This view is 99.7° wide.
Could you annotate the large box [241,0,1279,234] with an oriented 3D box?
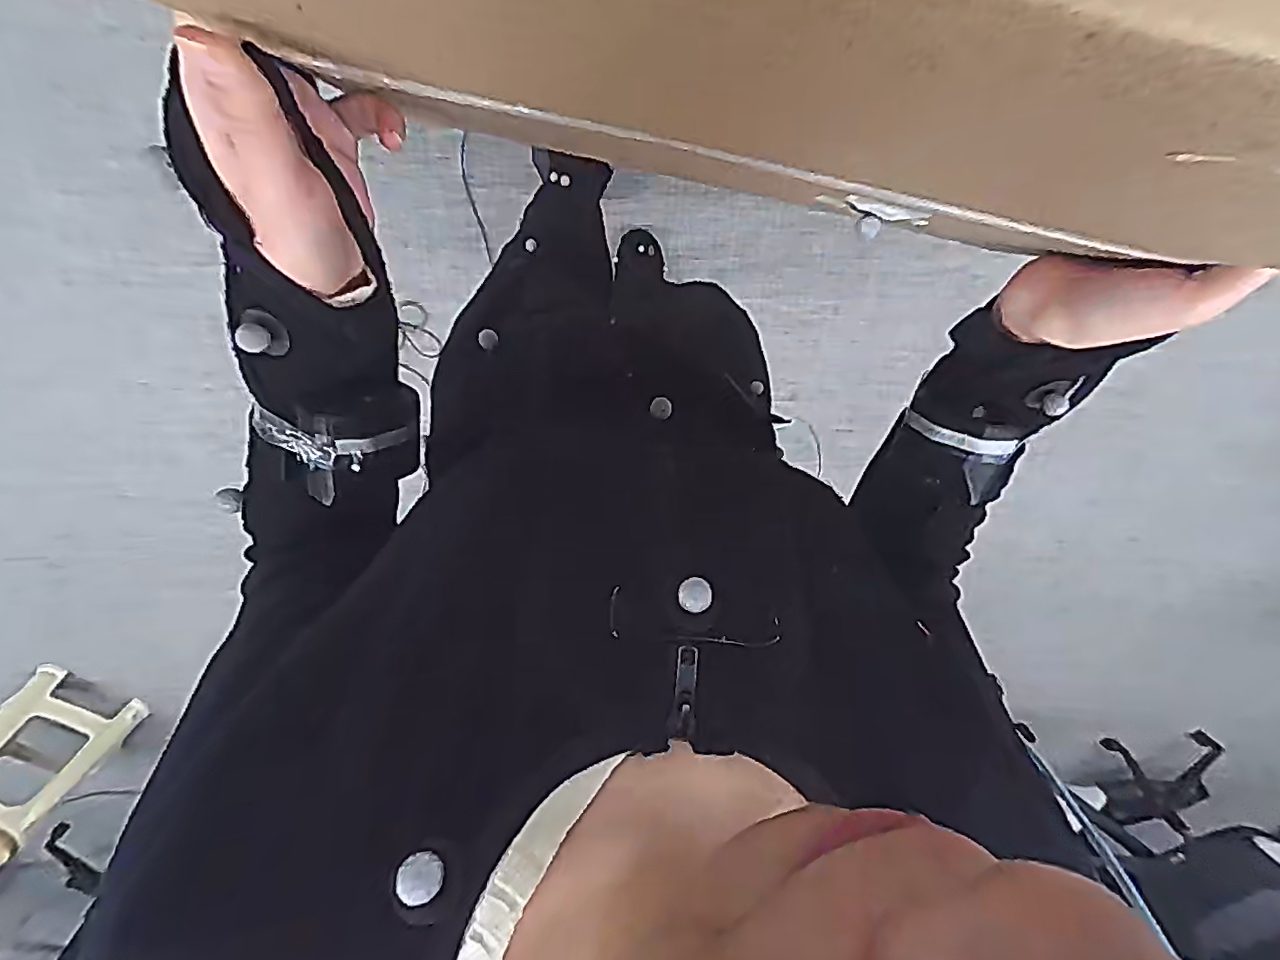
[{"bbox_3d":[0.079,-0.276,0.144,0.408,0.320,0.320,9,115,-5],"label":"large box"}]
